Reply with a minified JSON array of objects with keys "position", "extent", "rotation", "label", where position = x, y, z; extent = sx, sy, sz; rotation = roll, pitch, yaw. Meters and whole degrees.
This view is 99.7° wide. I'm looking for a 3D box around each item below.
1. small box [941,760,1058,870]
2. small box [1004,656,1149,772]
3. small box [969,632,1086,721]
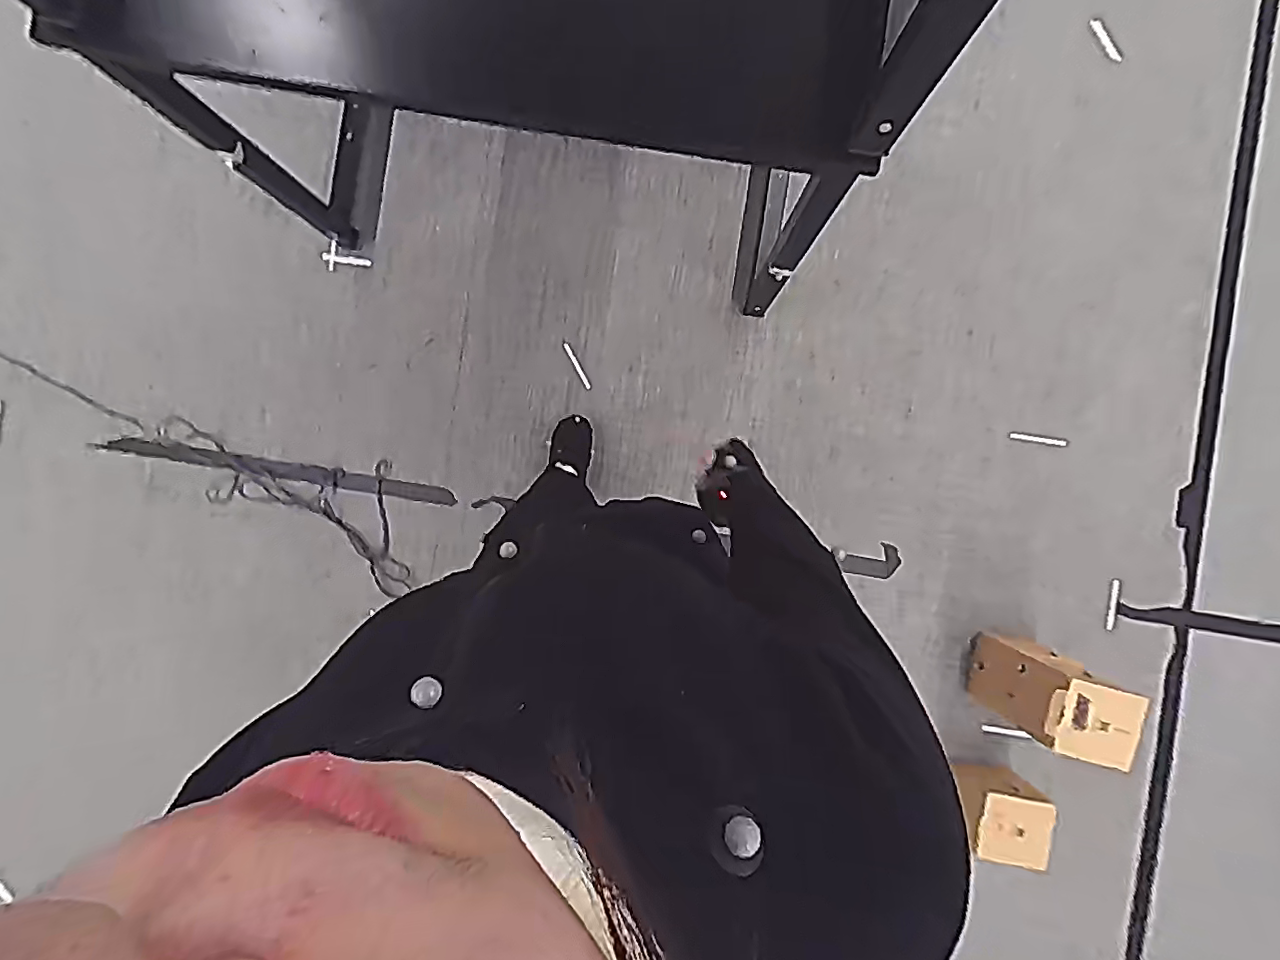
[{"position":[0.920,0.855,1.396],"extent":[0.179,0.176,0.168],"rotation":[11,90,1],"label":"small box"},{"position":[0.975,0.518,1.226],"extent":[0.179,0.176,0.168],"rotation":[15,91,0],"label":"small box"},{"position":[0.984,0.512,1.390],"extent":[0.168,0.176,0.179],"rotation":[11,92,0],"label":"small box"}]
